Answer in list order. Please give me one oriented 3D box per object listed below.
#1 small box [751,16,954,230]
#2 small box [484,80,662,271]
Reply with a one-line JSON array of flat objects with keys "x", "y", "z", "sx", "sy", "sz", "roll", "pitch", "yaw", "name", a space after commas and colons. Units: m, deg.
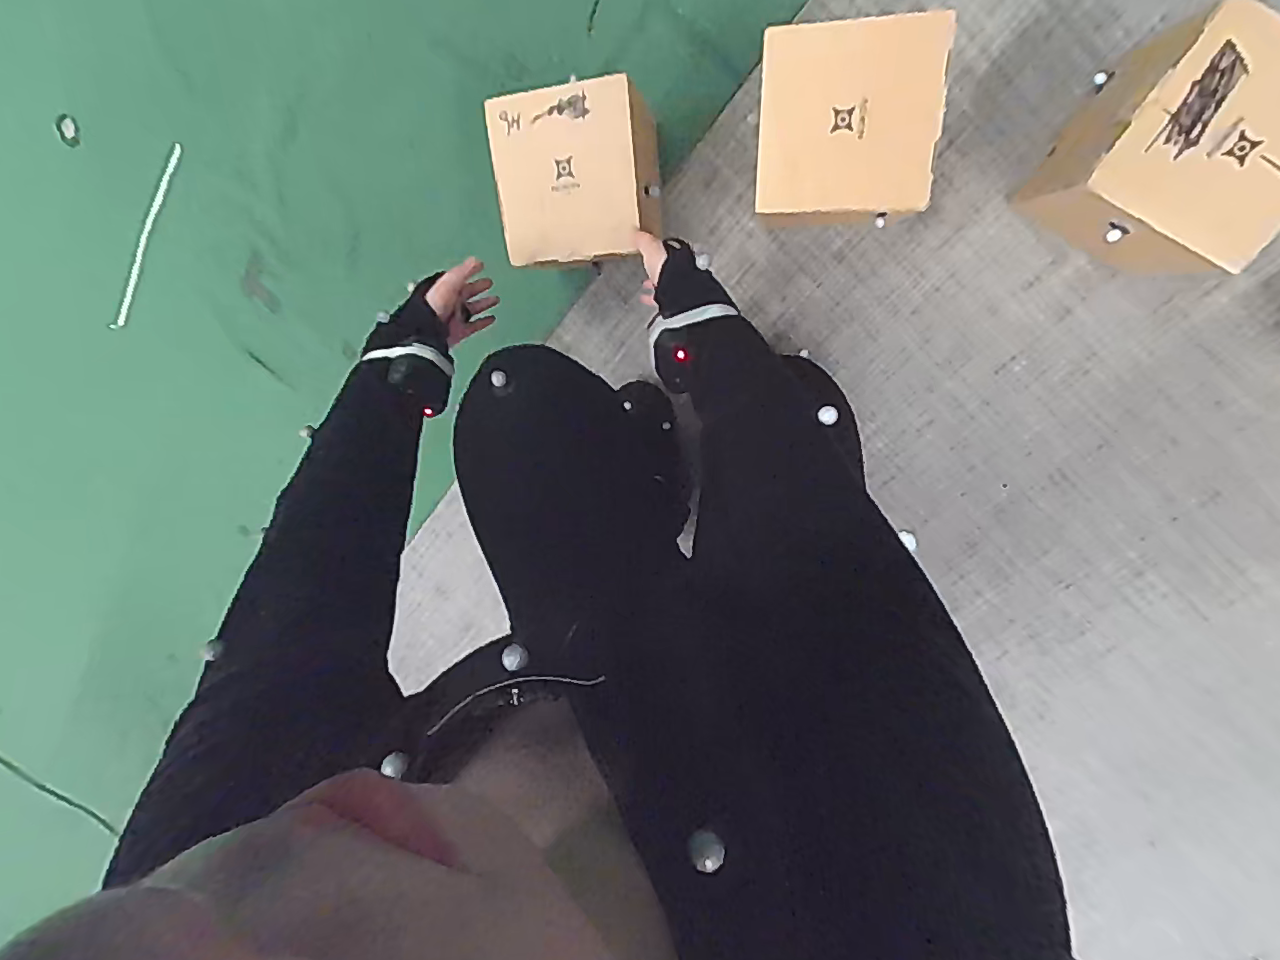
[{"x": 0.221, "y": -0.382, "z": 0.614, "sx": 0.179, "sy": 0.176, "sz": 0.168, "roll": 3, "pitch": 110, "yaw": 11, "name": "small box"}, {"x": -0.070, "y": -0.365, "z": 0.680, "sx": 0.168, "sy": 0.176, "sz": 0.179, "roll": -1, "pitch": 111, "yaw": 12, "name": "small box"}]
